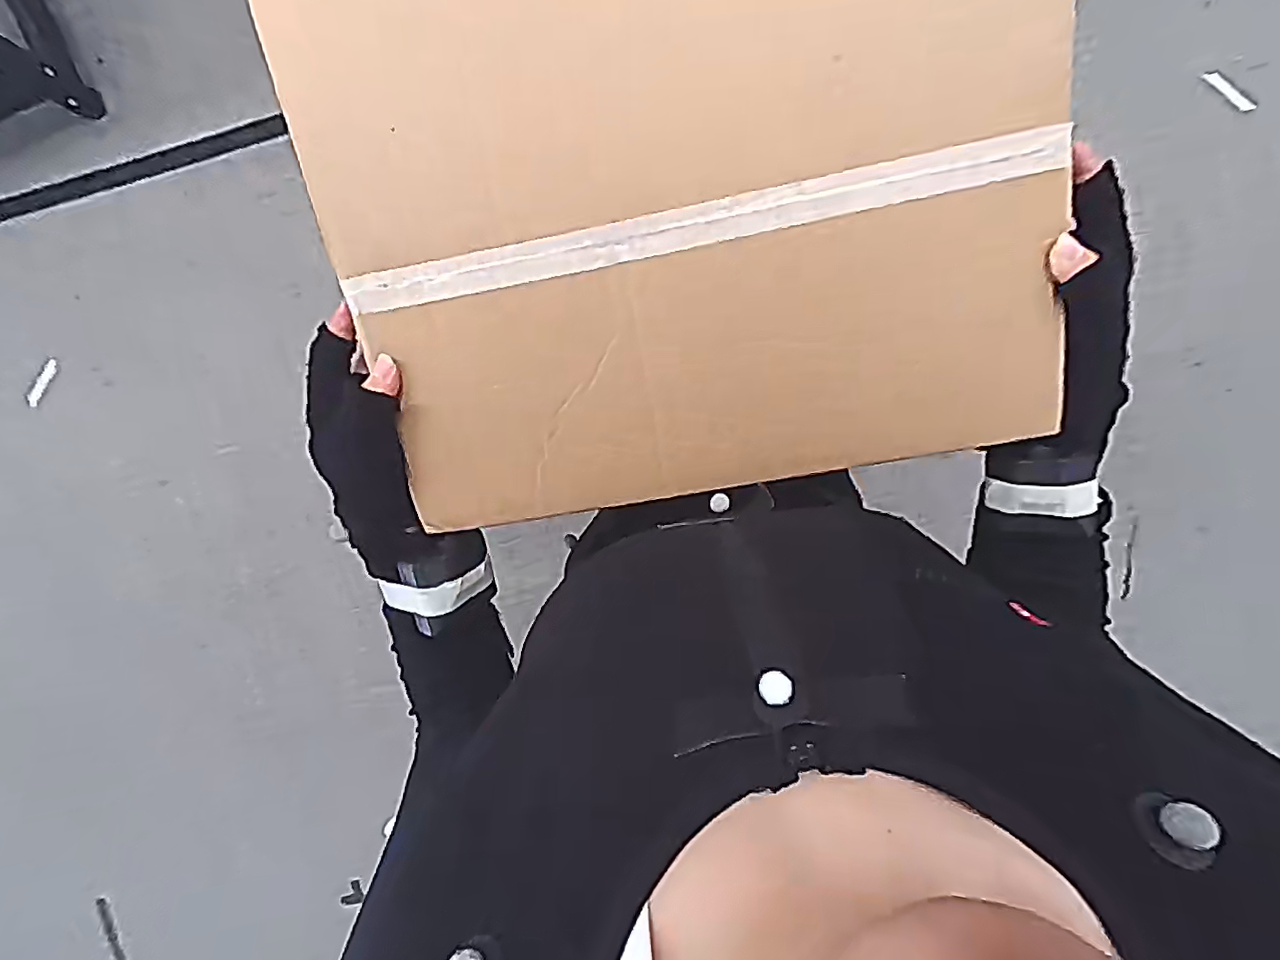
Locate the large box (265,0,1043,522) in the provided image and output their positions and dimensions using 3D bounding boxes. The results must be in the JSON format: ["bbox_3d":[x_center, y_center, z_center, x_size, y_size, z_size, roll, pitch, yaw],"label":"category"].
[{"bbox_3d":[0.028,-0.194,0.453,0.408,0.320,0.320,-10,107,5],"label":"large box"}]
